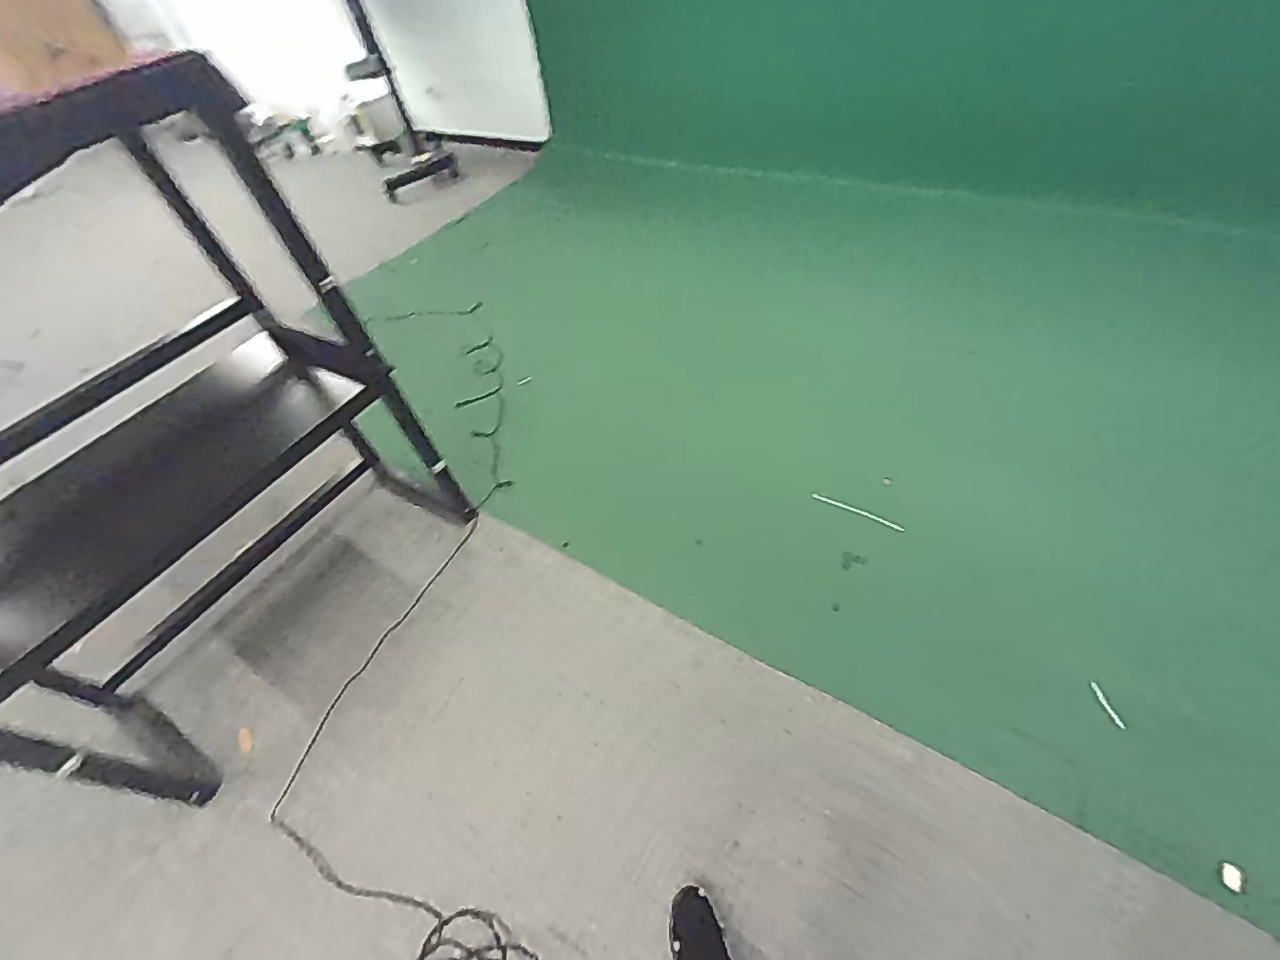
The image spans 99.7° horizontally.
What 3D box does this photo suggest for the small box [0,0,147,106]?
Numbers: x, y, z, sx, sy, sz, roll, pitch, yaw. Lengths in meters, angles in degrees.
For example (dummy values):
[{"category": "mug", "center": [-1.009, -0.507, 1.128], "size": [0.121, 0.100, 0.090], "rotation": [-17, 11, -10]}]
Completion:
[{"category": "small box", "center": [-1.044, -0.782, 0.953], "size": [0.179, 0.176, 0.168], "rotation": [24, 58, 26]}]
